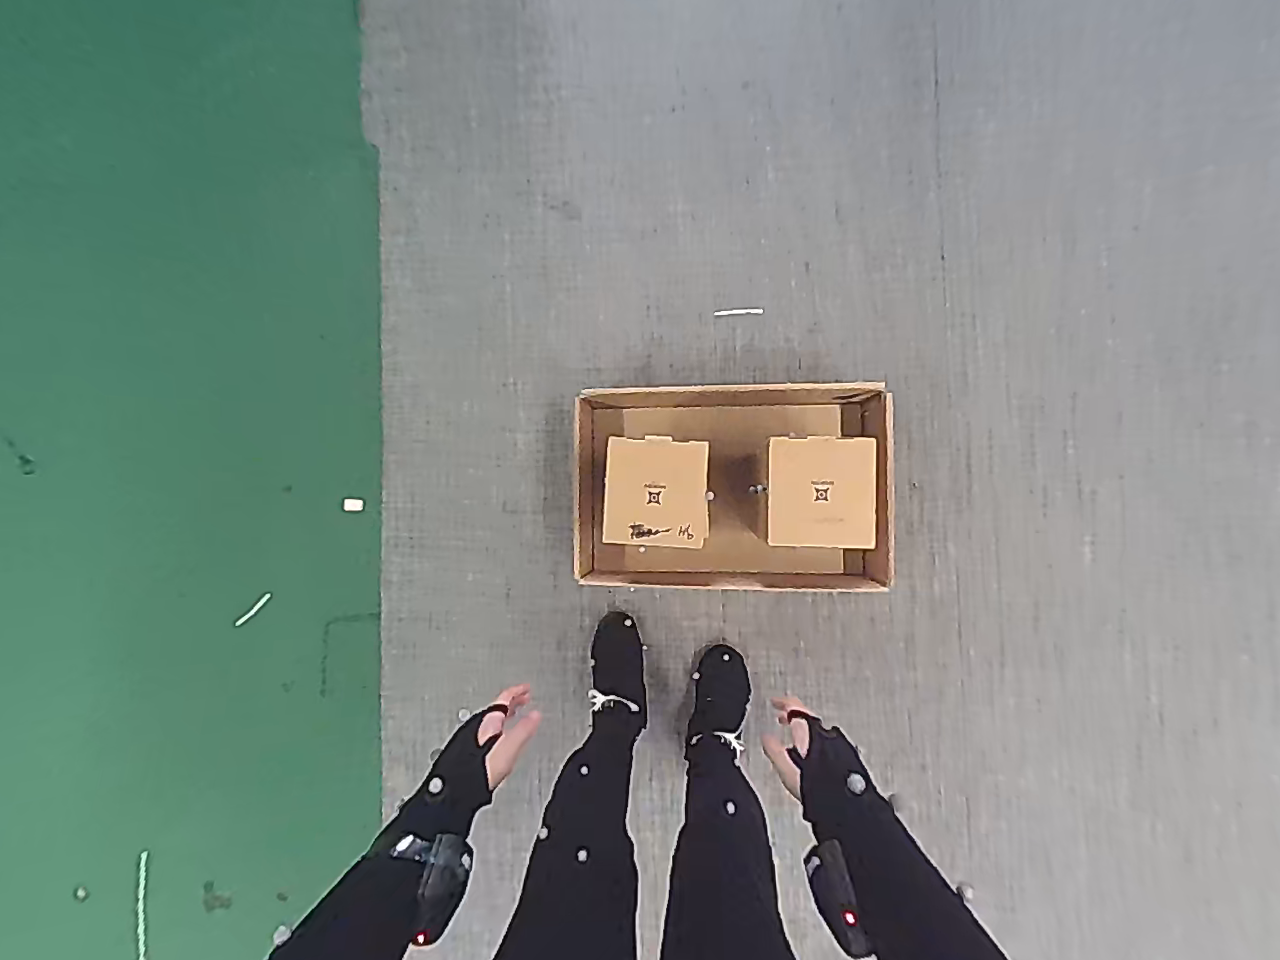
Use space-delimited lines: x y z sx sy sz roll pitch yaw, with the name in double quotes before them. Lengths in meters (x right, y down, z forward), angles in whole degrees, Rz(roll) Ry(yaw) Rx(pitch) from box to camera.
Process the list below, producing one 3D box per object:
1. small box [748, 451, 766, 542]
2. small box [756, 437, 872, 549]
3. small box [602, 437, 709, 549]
"small box" 0.312 0.032 1.103 0.168 0.176 0.179 -1 88 6
"small box" 0.293 0.023 0.942 0.168 0.176 0.179 1 89 7
"small box" 0.031 0.025 0.963 0.168 0.176 0.179 4 88 6
